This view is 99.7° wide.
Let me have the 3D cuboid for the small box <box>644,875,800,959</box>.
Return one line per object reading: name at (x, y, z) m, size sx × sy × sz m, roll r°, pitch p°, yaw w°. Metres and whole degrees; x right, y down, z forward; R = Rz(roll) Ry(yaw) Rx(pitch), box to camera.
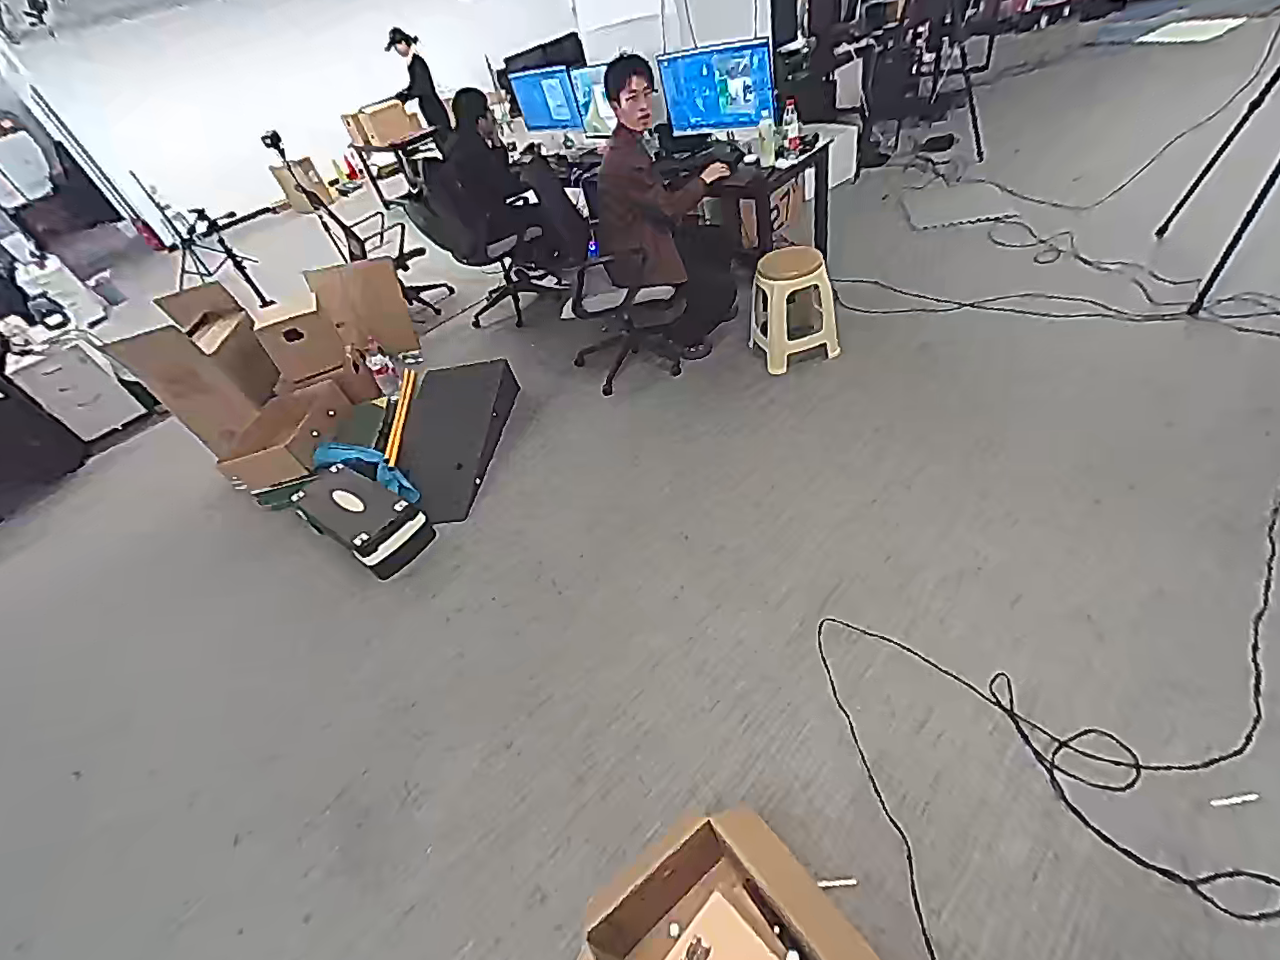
small box at (0.098, 0.586, 0.607) m, size 0.168 × 0.176 × 0.179 m, roll -43°, pitch 60°, yaw -16°
